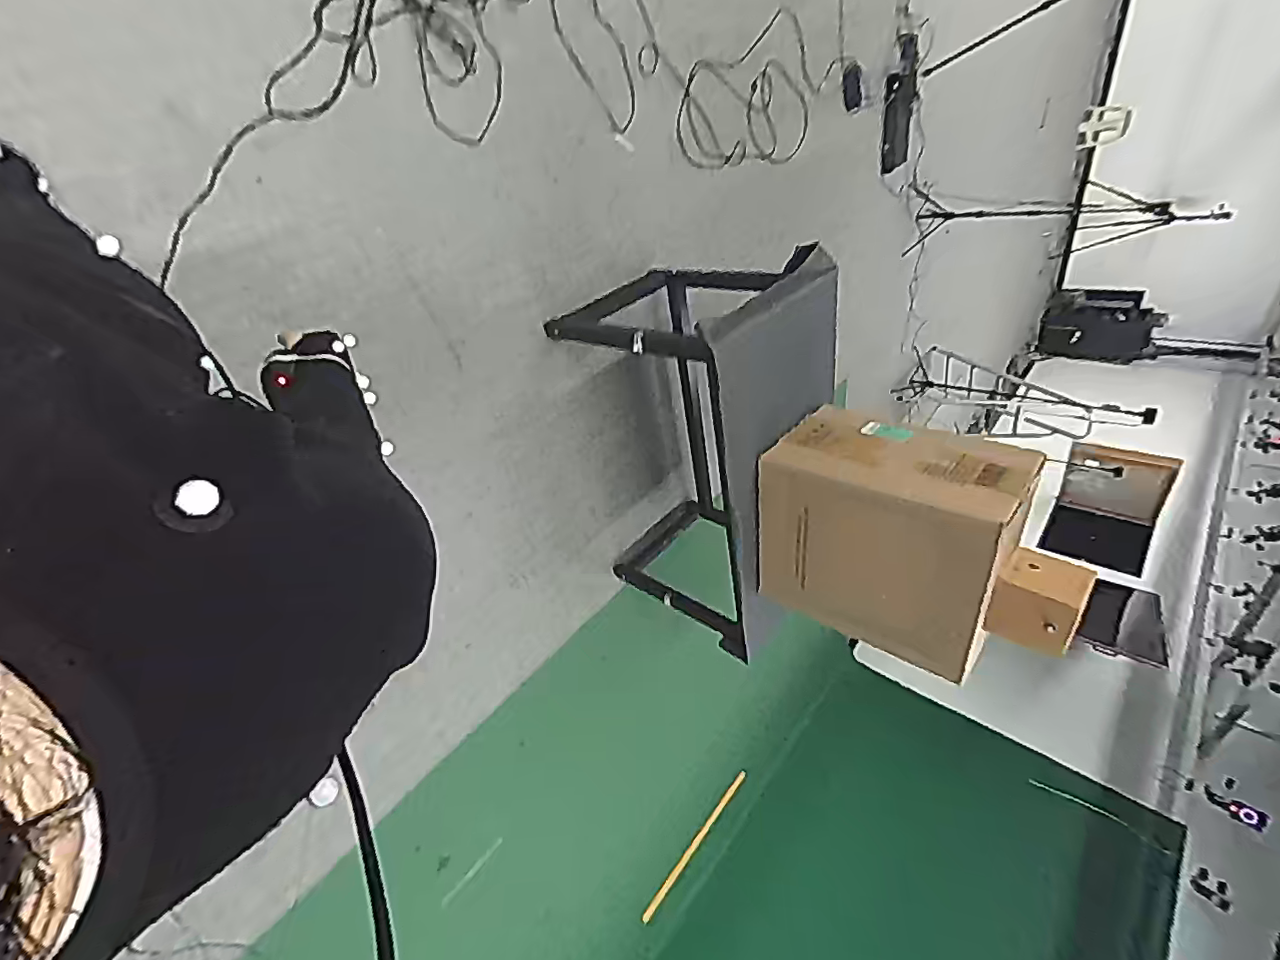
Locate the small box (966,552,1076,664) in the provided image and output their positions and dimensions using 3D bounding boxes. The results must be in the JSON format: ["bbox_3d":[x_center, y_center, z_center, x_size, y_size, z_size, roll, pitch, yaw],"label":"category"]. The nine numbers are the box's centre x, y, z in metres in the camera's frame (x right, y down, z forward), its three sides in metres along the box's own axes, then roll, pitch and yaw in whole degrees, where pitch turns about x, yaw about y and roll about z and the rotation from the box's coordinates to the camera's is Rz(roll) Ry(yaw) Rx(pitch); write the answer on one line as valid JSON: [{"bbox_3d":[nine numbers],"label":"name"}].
[{"bbox_3d":[0.936,0.310,1.341,0.168,0.176,0.179,-30,127,-36],"label":"small box"}]
